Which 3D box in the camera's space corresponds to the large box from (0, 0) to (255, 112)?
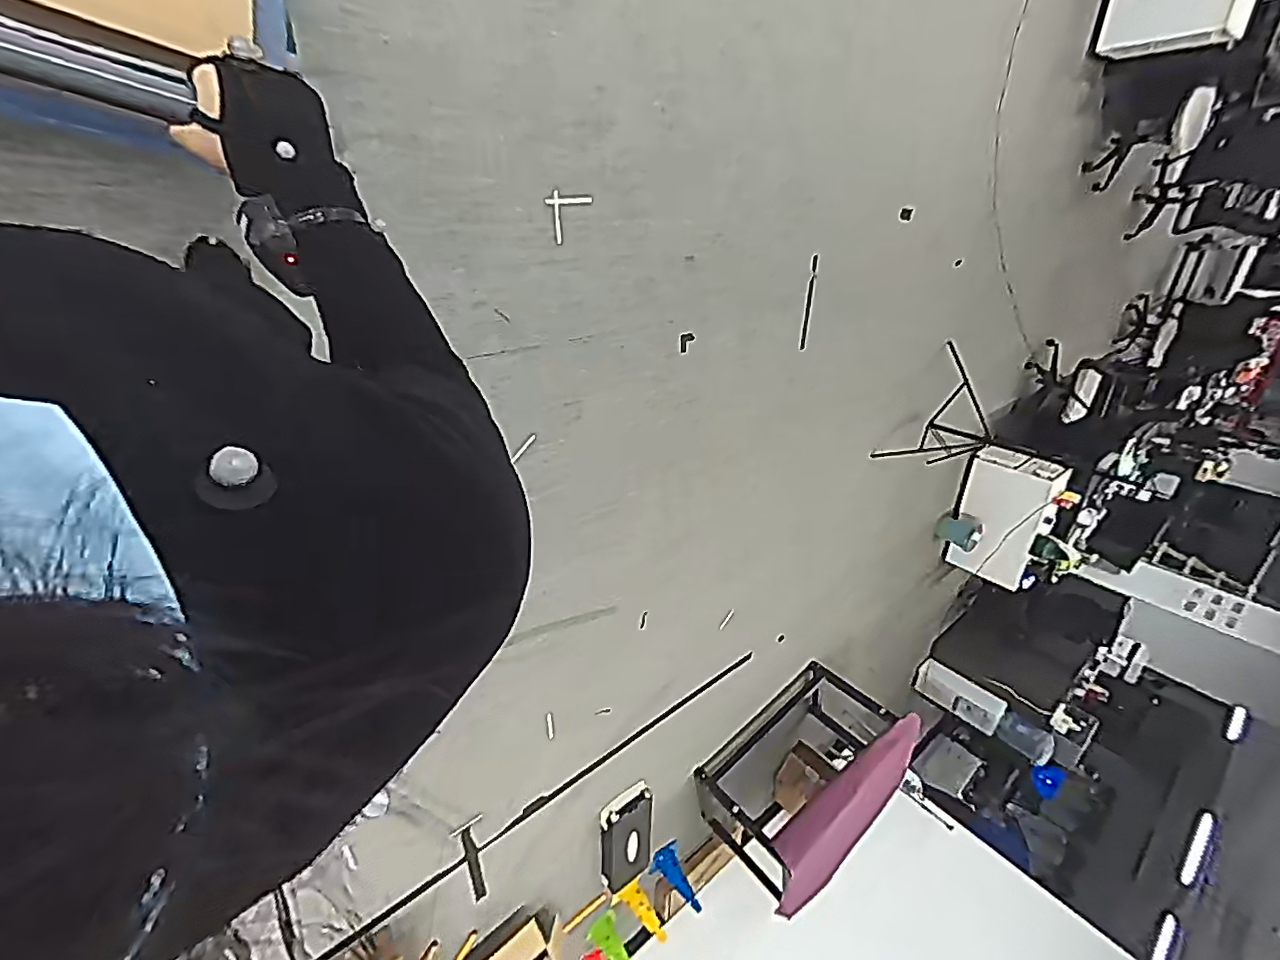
[{"bbox_3d":[-0.723,-0.694,0.635,0.408,0.320,0.320,-5,114,-41],"label":"large box"}]
